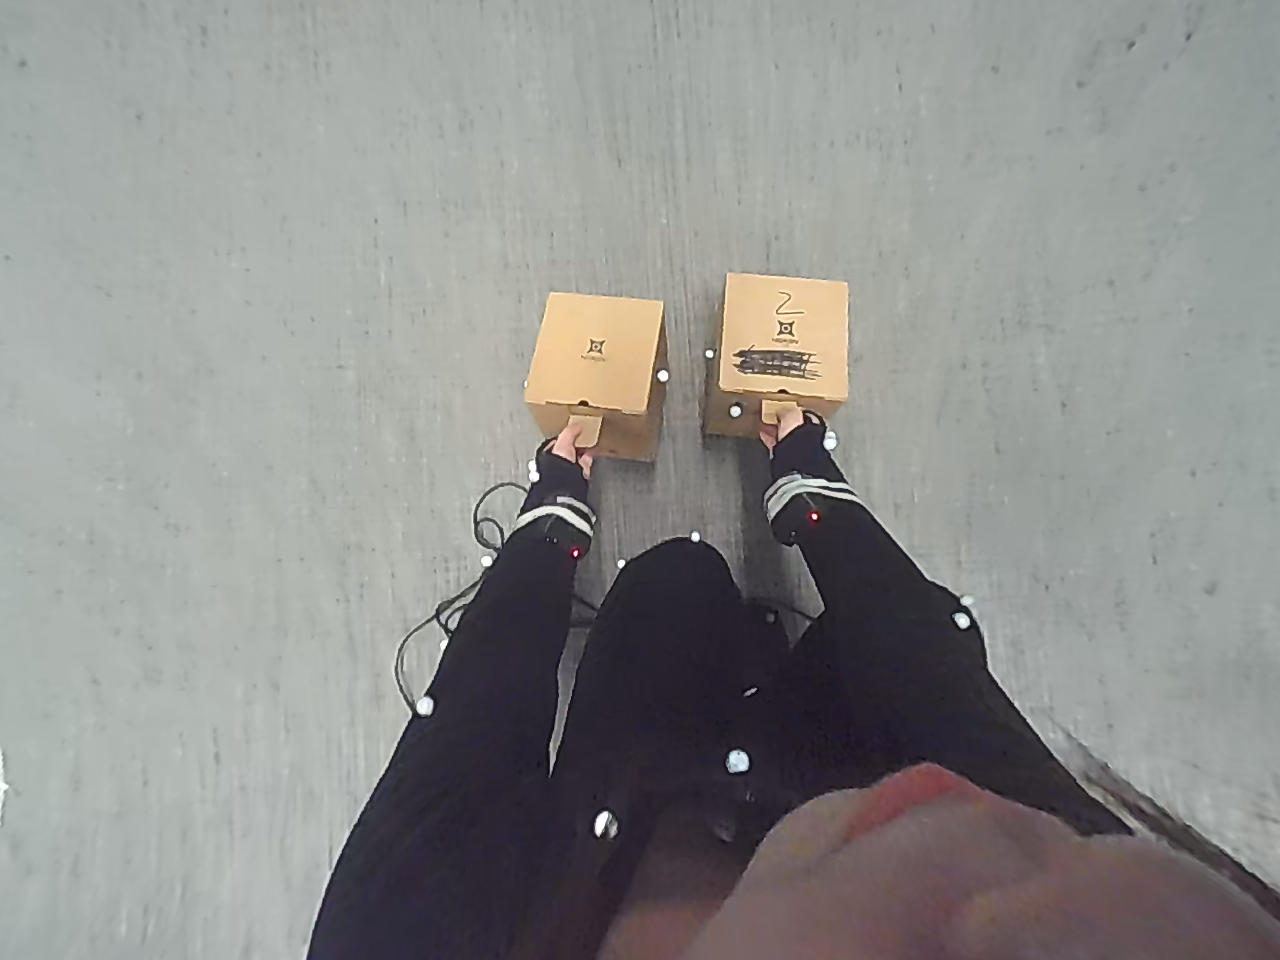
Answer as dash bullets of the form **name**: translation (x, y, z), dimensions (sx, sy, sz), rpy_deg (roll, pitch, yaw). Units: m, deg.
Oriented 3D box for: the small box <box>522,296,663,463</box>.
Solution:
- **small box**: translation (-0.057, -0.144, 0.804), dimensions (0.168, 0.176, 0.179), rpy_deg (7, 72, 7)
